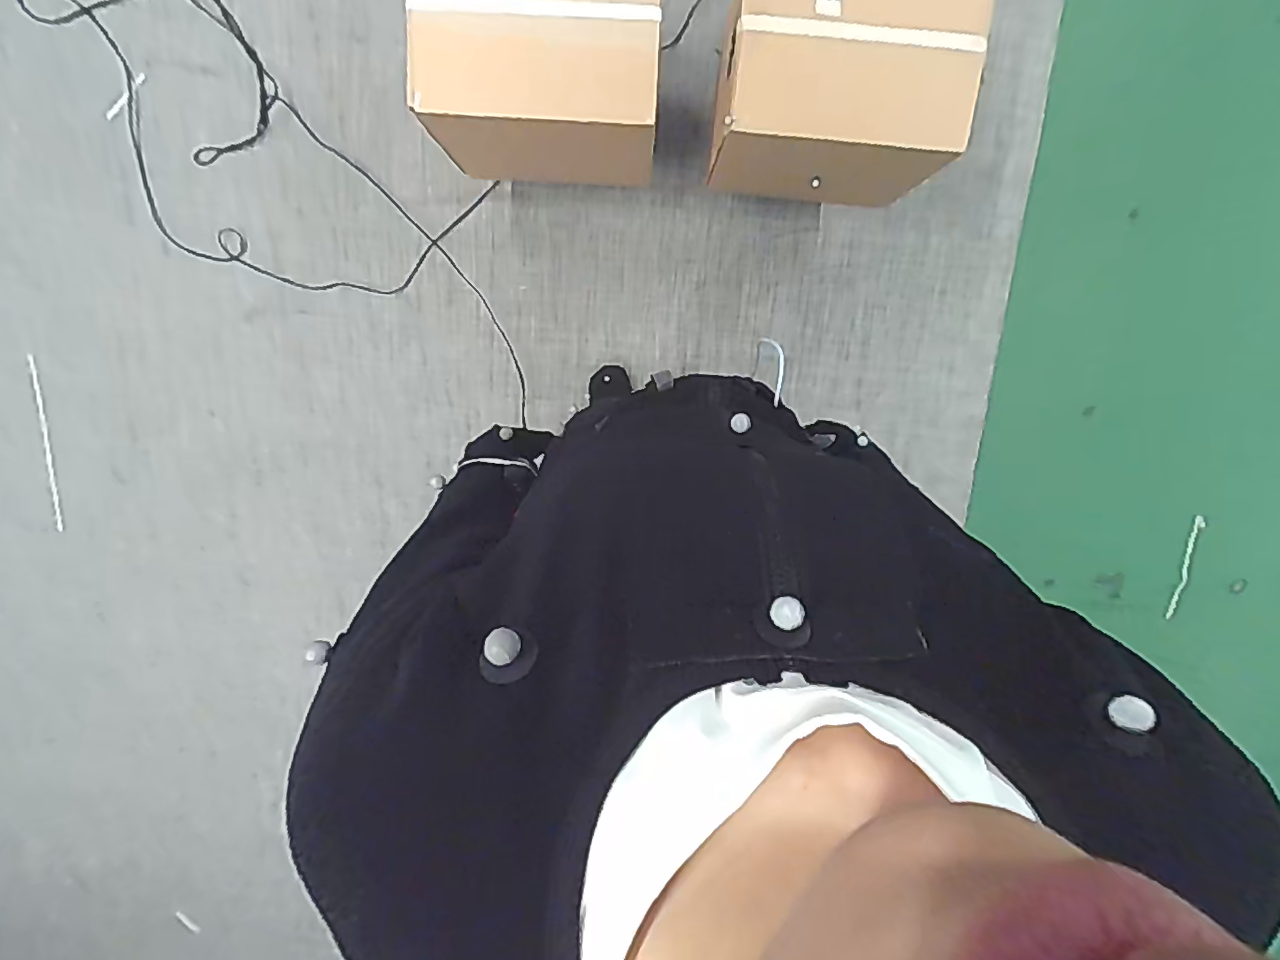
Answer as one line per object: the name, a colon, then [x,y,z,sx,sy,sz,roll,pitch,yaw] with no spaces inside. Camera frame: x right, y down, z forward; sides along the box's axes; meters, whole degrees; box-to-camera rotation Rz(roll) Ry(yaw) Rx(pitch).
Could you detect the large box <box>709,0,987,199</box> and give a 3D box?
large box: [0.363,-0.758,1.036,0.408,0.320,0.320,5,101,-1]
